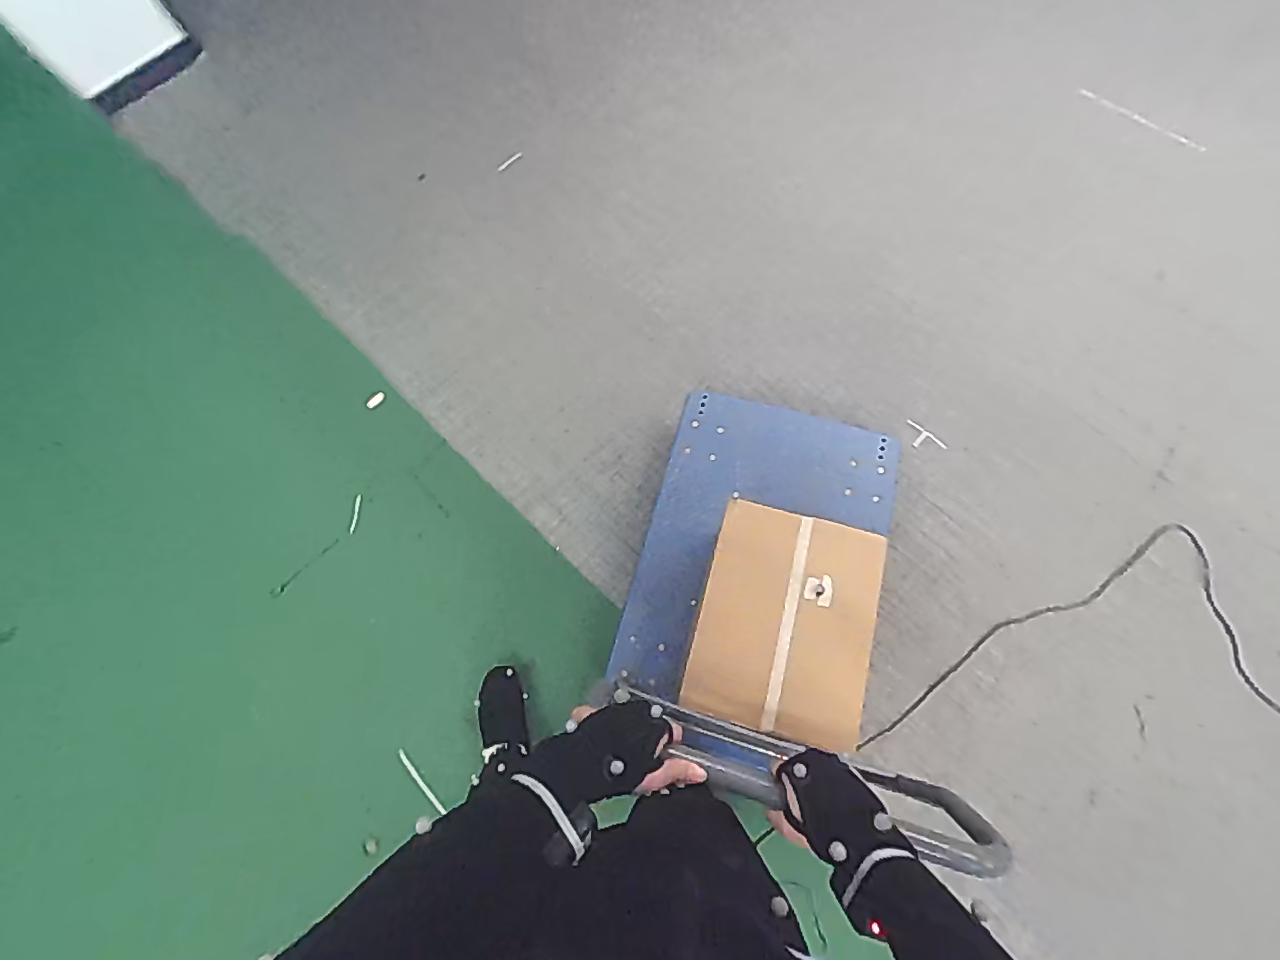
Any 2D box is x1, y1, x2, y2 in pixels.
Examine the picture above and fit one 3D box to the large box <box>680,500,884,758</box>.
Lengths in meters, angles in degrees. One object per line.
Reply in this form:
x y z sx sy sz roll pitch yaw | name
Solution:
0.276 0.306 1.127 0.320 0.320 0.408 15 71 7 | large box
